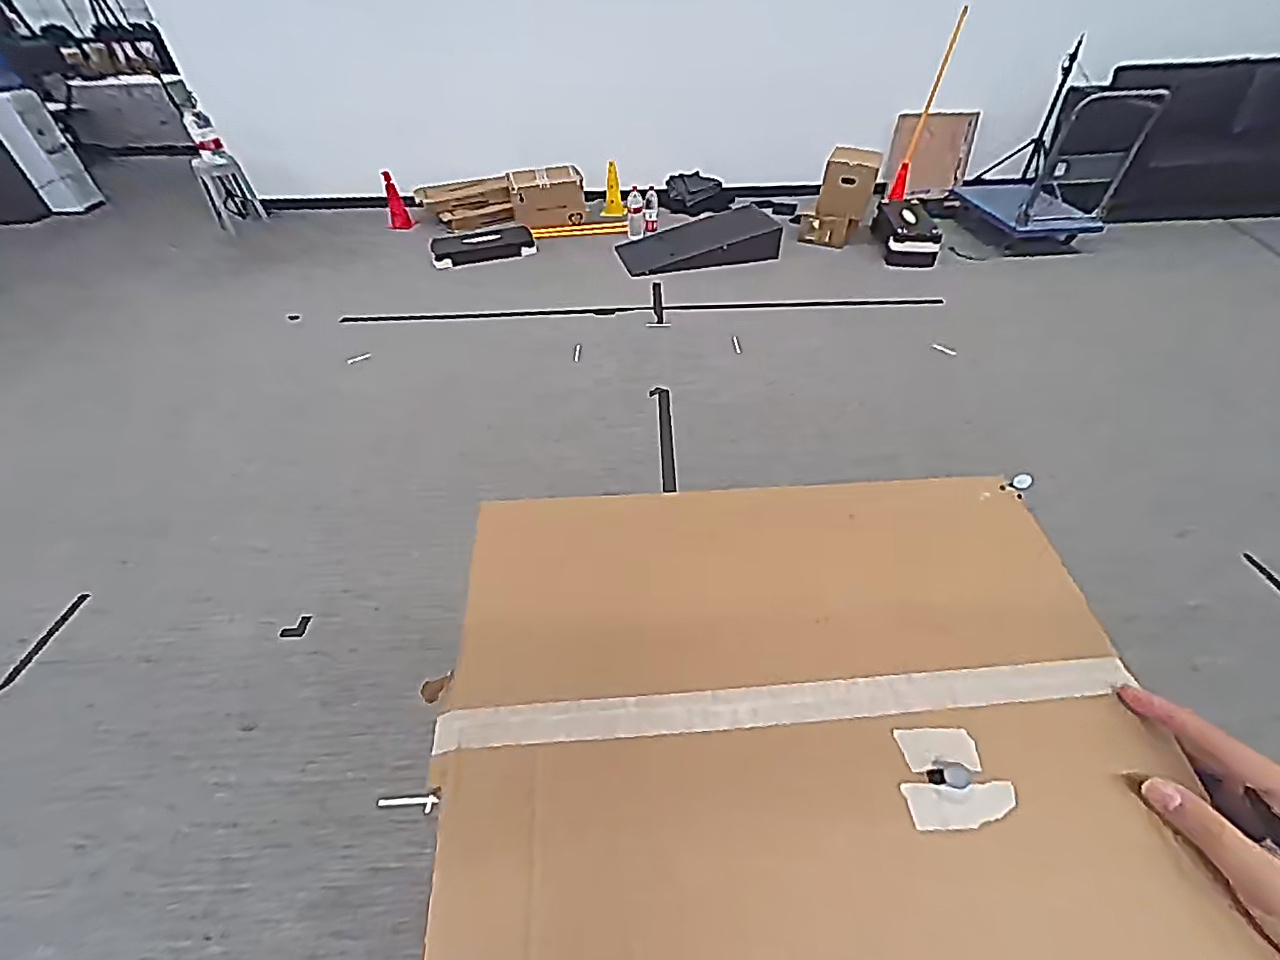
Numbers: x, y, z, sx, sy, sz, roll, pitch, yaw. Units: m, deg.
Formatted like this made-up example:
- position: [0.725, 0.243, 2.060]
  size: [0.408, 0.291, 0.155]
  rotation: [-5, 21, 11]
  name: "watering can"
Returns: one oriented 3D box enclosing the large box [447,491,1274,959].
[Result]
- position: [0.091, 0.232, 0.442]
  size: [0.408, 0.320, 0.320]
  rotation: [-3, 53, -4]
  name: "large box"
